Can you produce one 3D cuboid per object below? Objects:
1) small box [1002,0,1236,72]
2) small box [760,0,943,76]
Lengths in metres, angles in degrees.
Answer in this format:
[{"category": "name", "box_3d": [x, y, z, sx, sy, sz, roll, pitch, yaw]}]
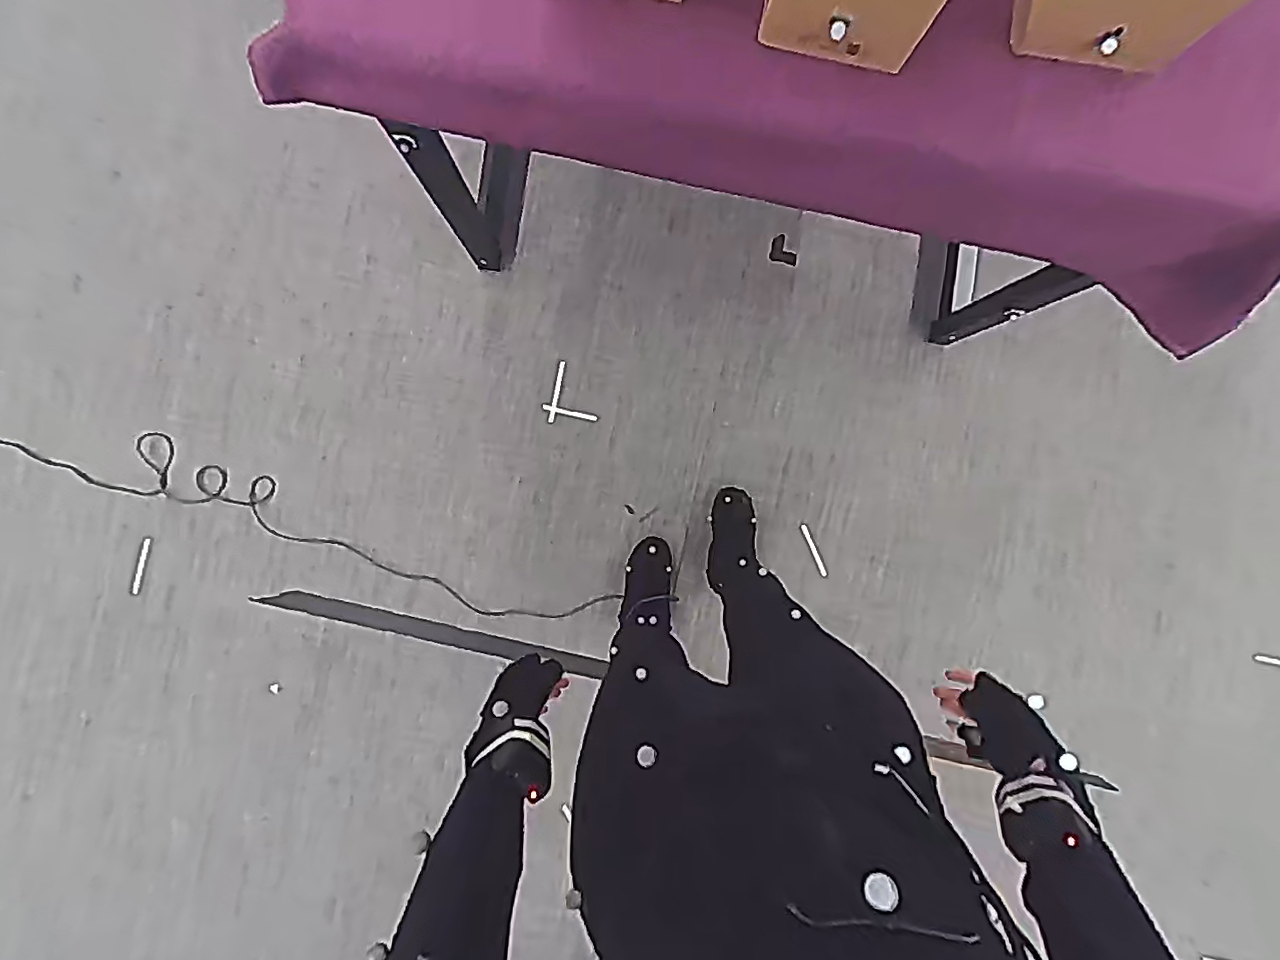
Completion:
[{"category": "small box", "box_3d": [0.518, -0.563, 0.551, 0.179, 0.176, 0.168, 7, 89, -2]}, {"category": "small box", "box_3d": [0.230, -0.563, 0.540, 0.168, 0.176, 0.179, 11, 90, -2]}]
